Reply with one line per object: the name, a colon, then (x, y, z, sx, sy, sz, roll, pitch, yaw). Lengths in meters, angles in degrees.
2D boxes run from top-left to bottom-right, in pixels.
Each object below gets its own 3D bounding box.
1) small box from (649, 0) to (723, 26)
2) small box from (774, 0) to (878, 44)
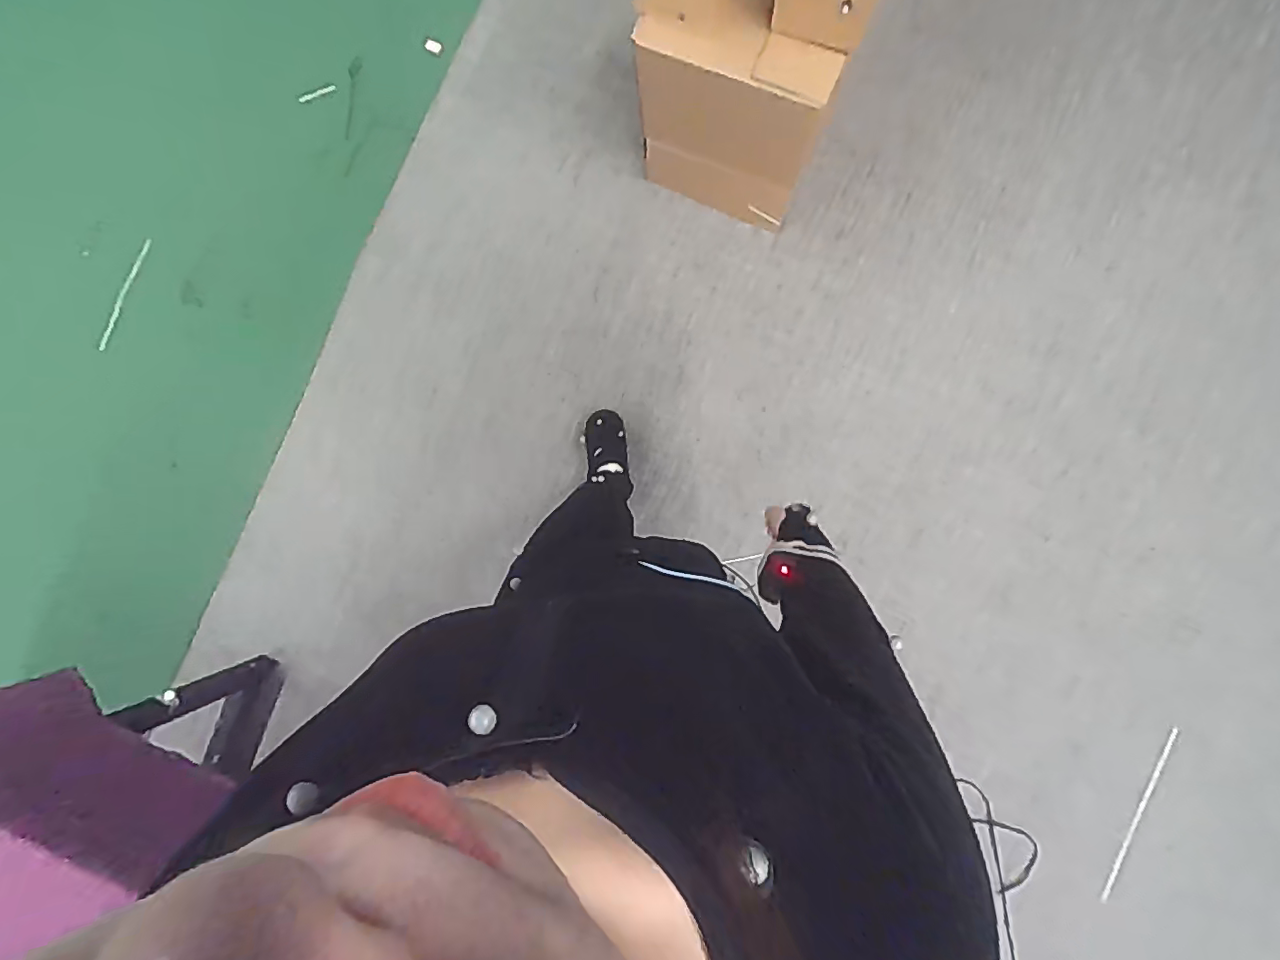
small box: (0.094, -0.979, 0.968, 0.168, 0.176, 0.179, 25, 90, 3)
small box: (0.357, -0.923, 0.949, 0.179, 0.176, 0.168, 24, 89, 6)
